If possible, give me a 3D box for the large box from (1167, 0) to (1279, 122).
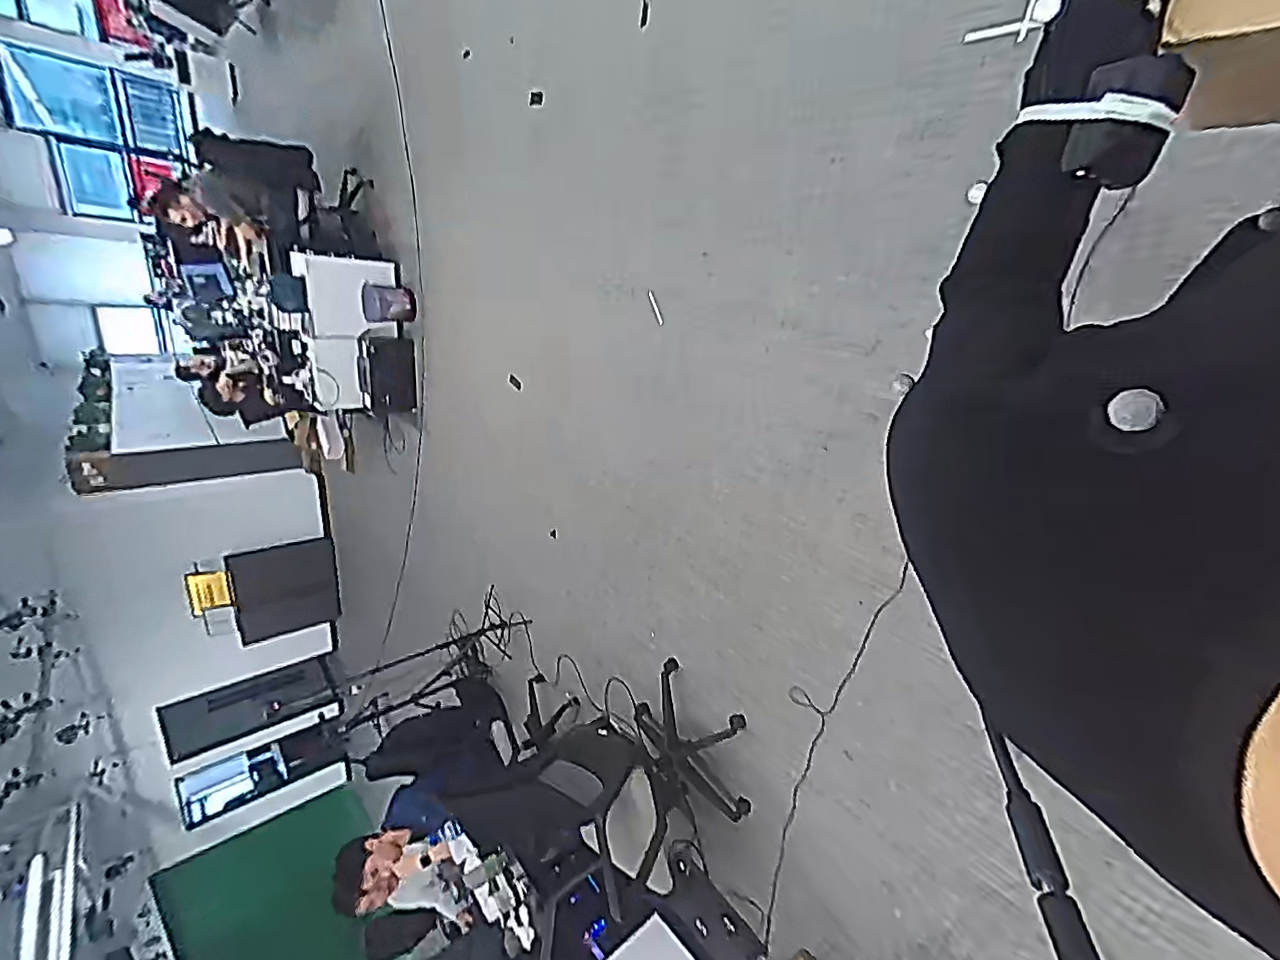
[{"bbox_3d":[0.584,-0.407,0.262,0.408,0.320,0.320,23,121,41],"label":"large box"}]
